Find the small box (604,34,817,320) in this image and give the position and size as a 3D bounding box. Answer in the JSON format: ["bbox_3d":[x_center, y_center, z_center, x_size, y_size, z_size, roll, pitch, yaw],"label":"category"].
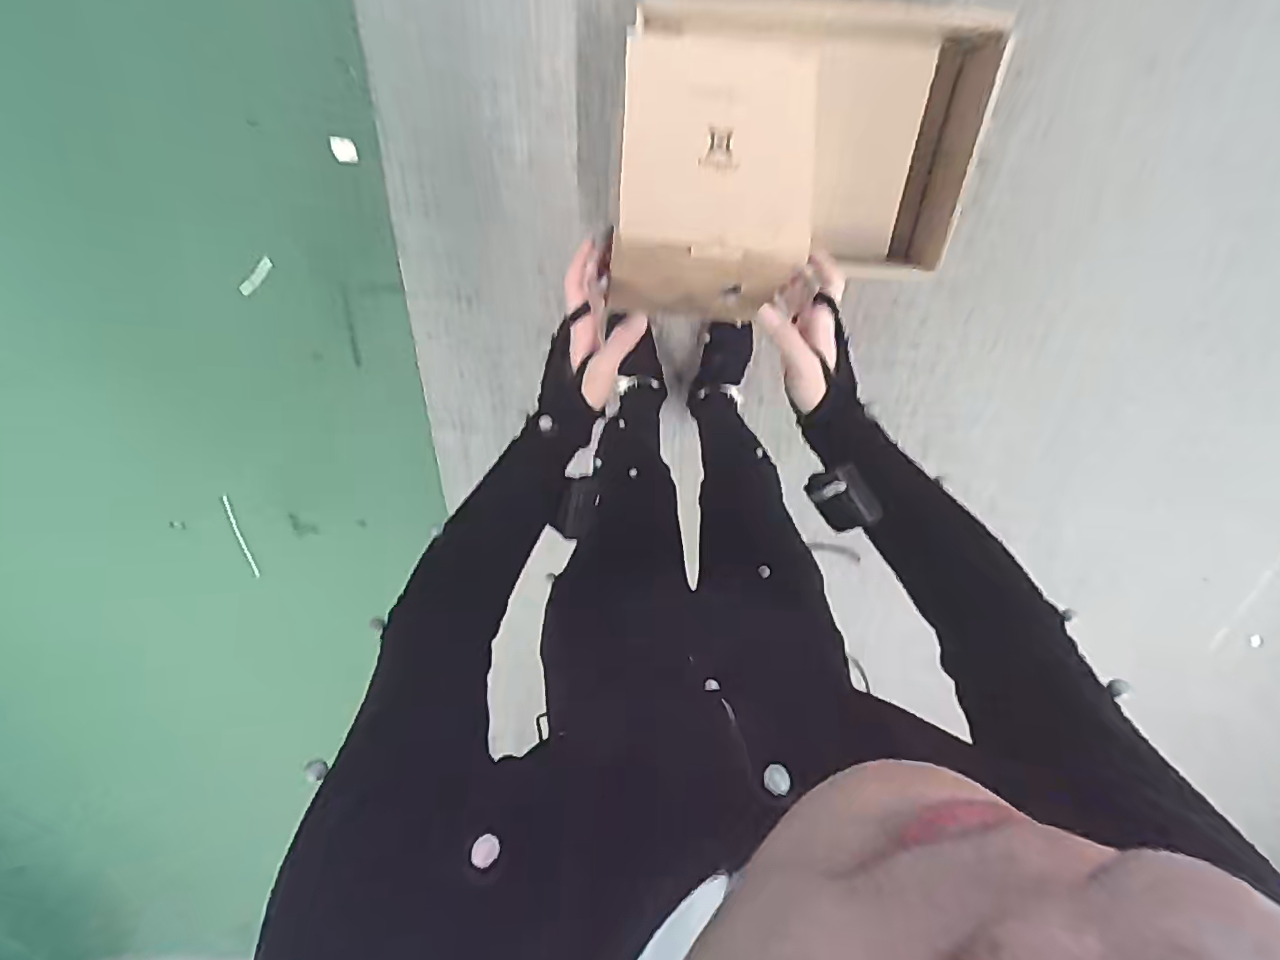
[{"bbox_3d":[0.055,-0.268,0.523,0.168,0.176,0.179,3,87,-7],"label":"small box"}]
